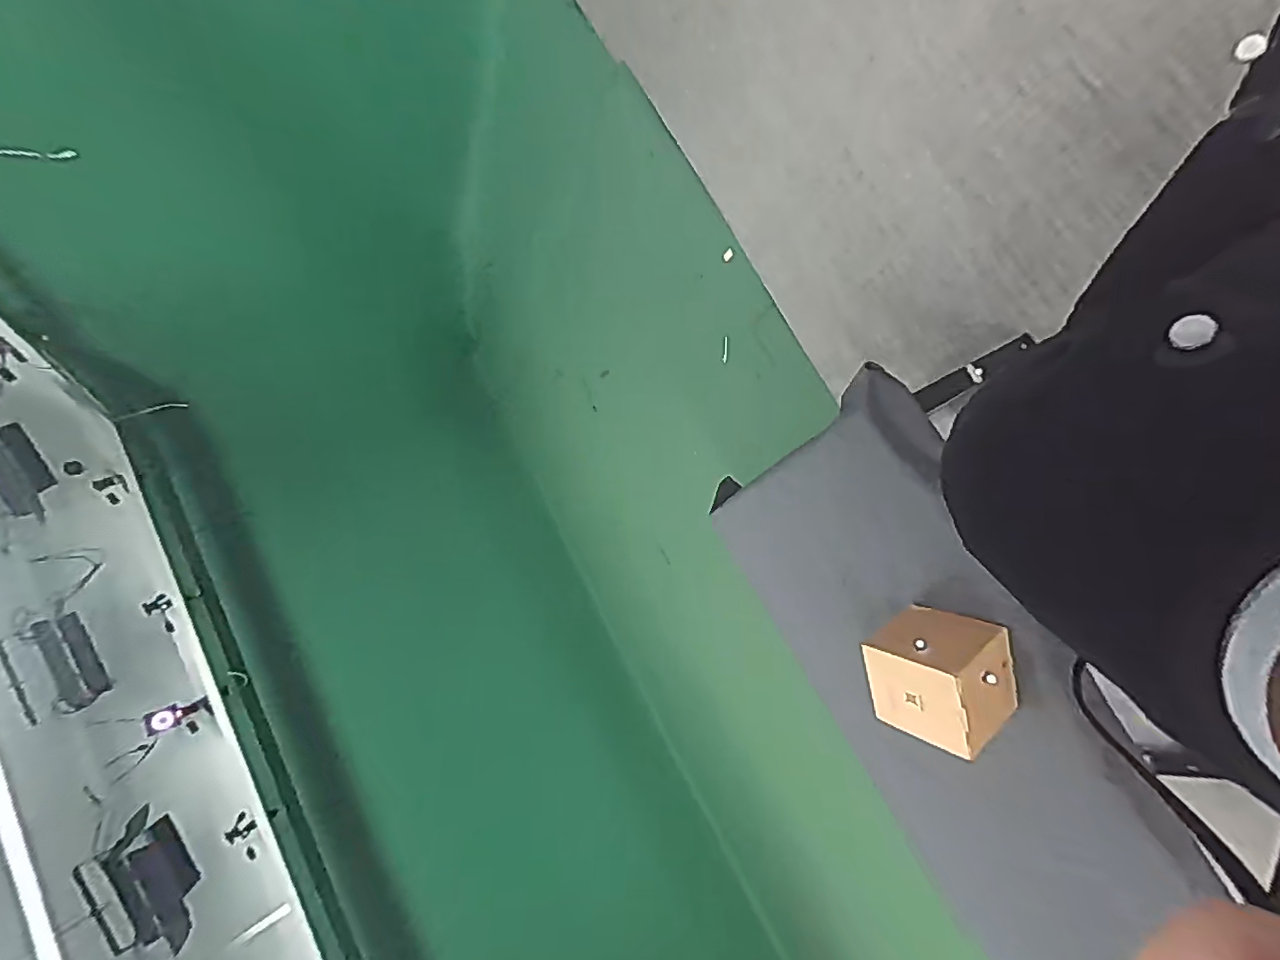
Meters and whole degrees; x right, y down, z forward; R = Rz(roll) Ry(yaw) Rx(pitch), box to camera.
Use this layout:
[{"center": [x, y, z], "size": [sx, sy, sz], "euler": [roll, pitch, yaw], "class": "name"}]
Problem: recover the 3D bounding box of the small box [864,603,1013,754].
[{"center": [0.546, 0.345, 0.982], "size": [0.179, 0.176, 0.168], "euler": [5, 115, 59], "class": "small box"}]
